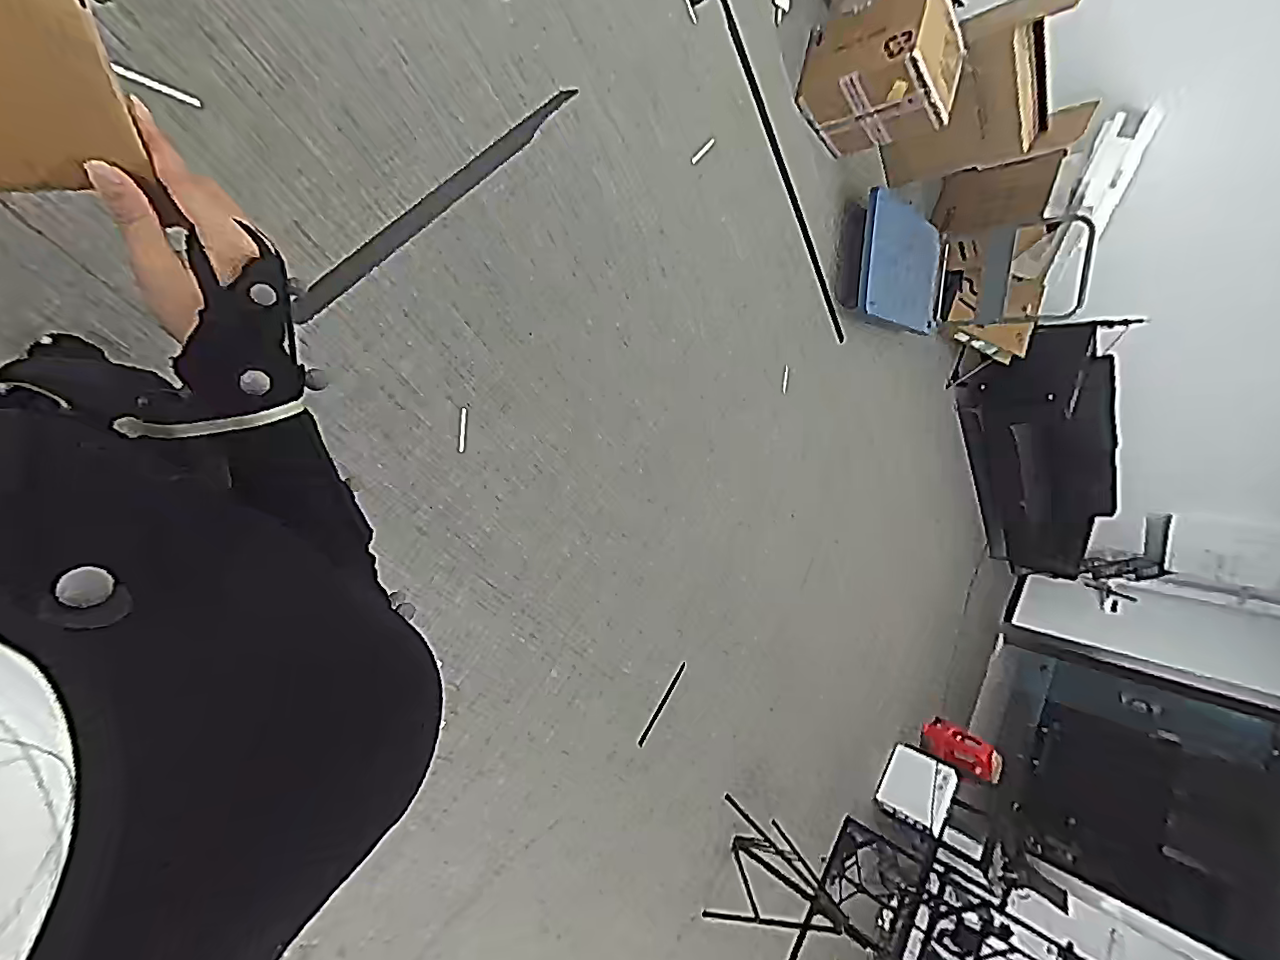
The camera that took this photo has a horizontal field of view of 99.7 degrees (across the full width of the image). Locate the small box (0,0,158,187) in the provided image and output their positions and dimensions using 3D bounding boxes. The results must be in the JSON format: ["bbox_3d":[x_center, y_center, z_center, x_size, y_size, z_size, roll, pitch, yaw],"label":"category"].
[{"bbox_3d":[-0.350,-0.246,0.214,0.179,0.168,0.176,-21,72,-30],"label":"small box"}]
